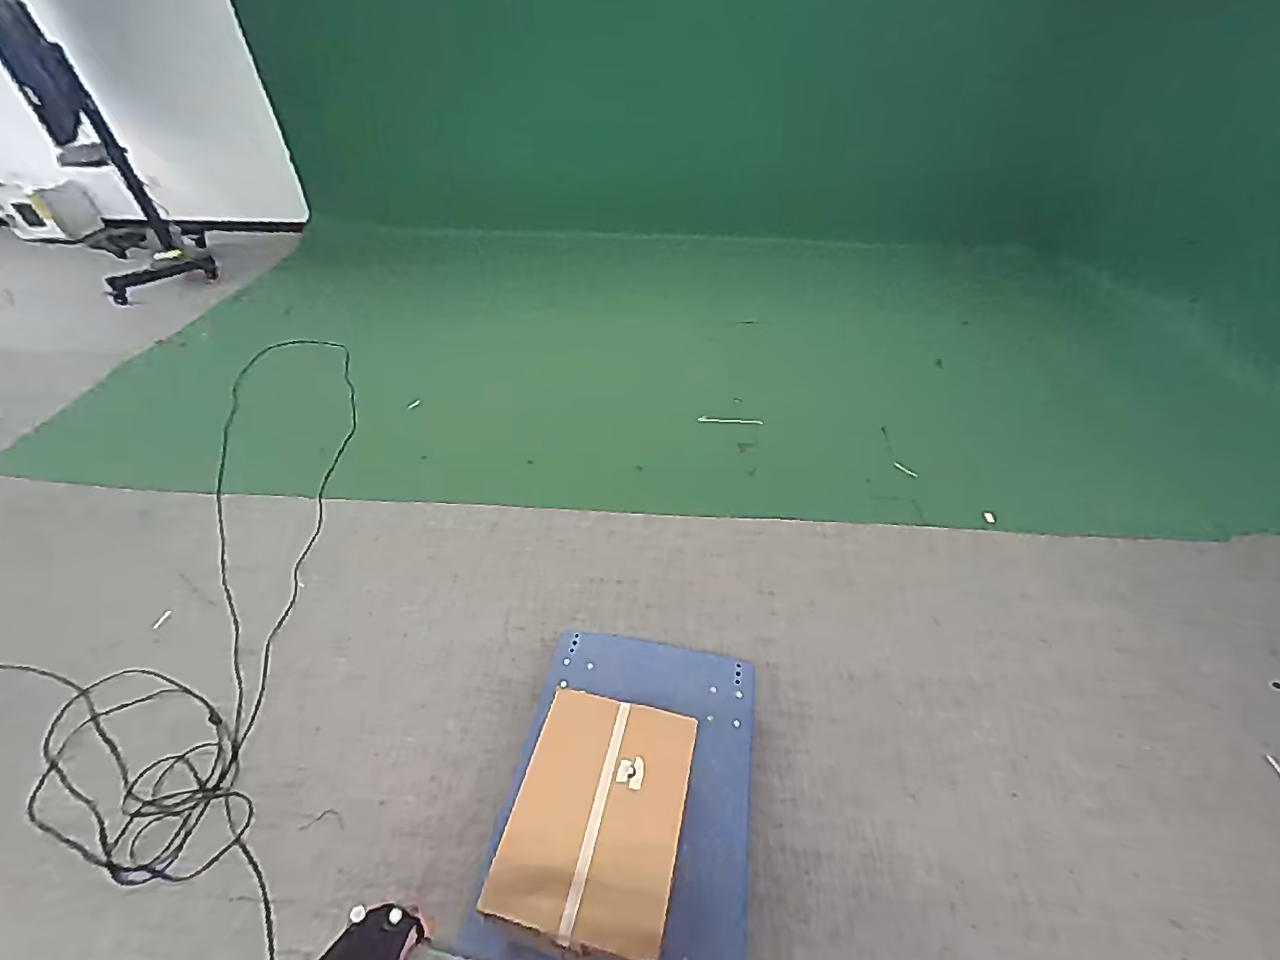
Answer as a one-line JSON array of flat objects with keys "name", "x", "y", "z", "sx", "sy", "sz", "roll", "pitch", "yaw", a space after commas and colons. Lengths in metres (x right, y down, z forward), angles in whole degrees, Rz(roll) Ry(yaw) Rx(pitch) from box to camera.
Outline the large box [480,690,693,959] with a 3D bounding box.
[{"name": "large box", "x": -0.080, "y": 0.725, "z": 1.123, "sx": 0.320, "sy": 0.320, "sz": 0.408, "roll": 10, "pitch": 43, "yaw": 10}]
